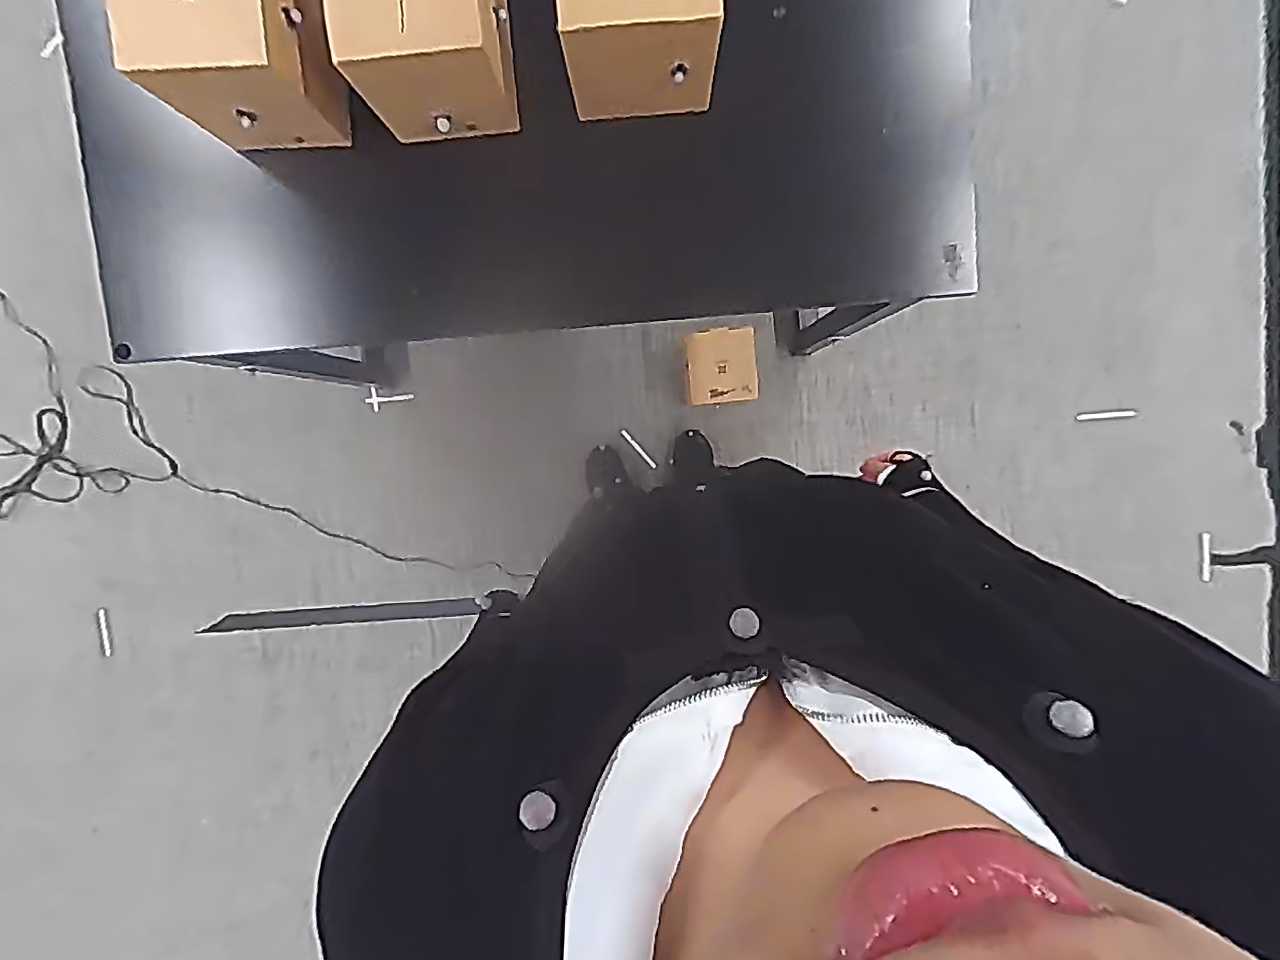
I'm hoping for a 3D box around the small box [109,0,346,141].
[{"bbox_3d":[-0.476,-0.532,0.645,0.168,0.176,0.179,-2,95,0],"label":"small box"}]

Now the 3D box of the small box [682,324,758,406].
[{"bbox_3d":[0.200,-0.288,1.388,0.168,0.176,0.179,-5,95,2],"label":"small box"}]

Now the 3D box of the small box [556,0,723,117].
[{"bbox_3d":[-0.004,-0.565,0.637,0.179,0.176,0.168,-4,94,2],"label":"small box"}]

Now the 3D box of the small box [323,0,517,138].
[{"bbox_3d":[-0.252,-0.545,0.641,0.168,0.176,0.179,-5,96,1],"label":"small box"}]
